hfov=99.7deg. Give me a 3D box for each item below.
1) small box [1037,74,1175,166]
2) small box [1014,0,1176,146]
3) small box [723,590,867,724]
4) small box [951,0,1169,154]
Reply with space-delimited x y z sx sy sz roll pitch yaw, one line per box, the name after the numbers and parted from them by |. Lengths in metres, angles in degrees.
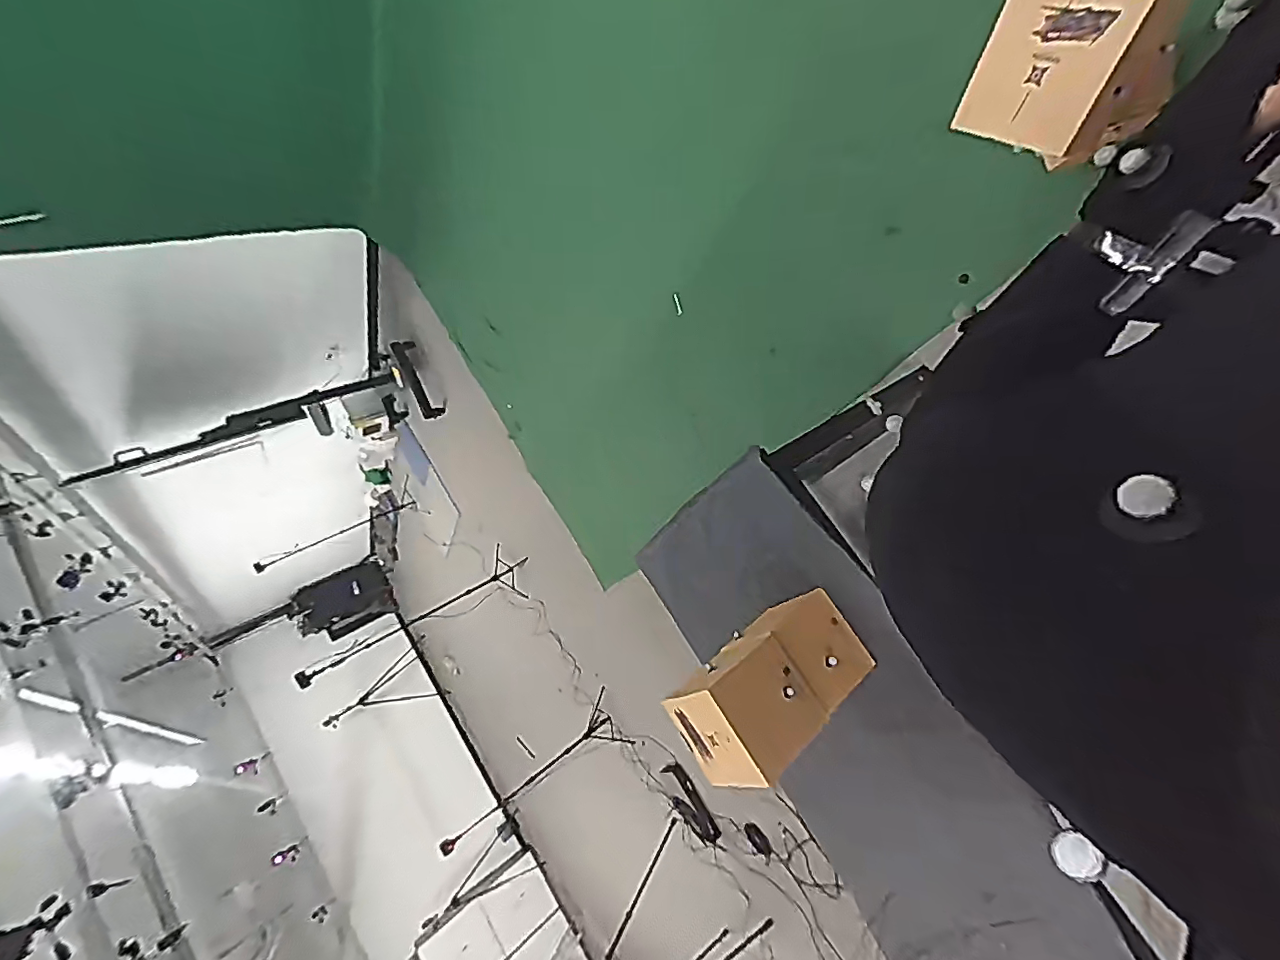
0.811 -0.699 0.967 0.168 0.176 0.179 -21 95 54 | small box
0.709 -0.648 0.848 0.168 0.176 0.179 10 119 47 | small box
0.297 0.330 1.019 0.168 0.176 0.179 55 146 10 | small box
0.586 -0.582 0.759 0.168 0.176 0.179 40 139 27 | small box
